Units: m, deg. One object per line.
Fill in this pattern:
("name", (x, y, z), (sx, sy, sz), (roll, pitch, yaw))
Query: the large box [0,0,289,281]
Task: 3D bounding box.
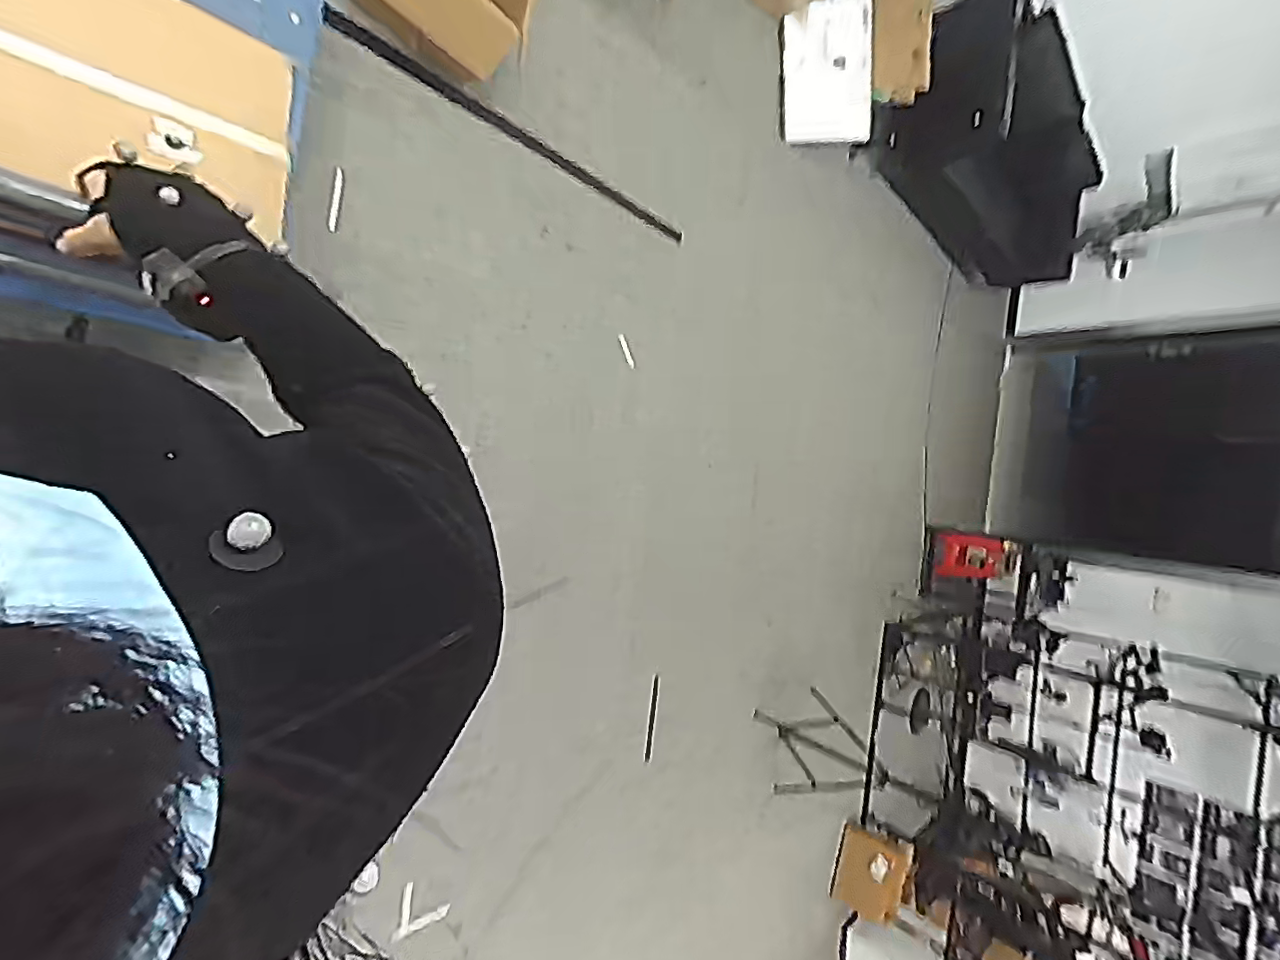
("large box", (-0.827, -0.545, 0.837), (0.408, 0.320, 0.320), (5, 92, -46))
